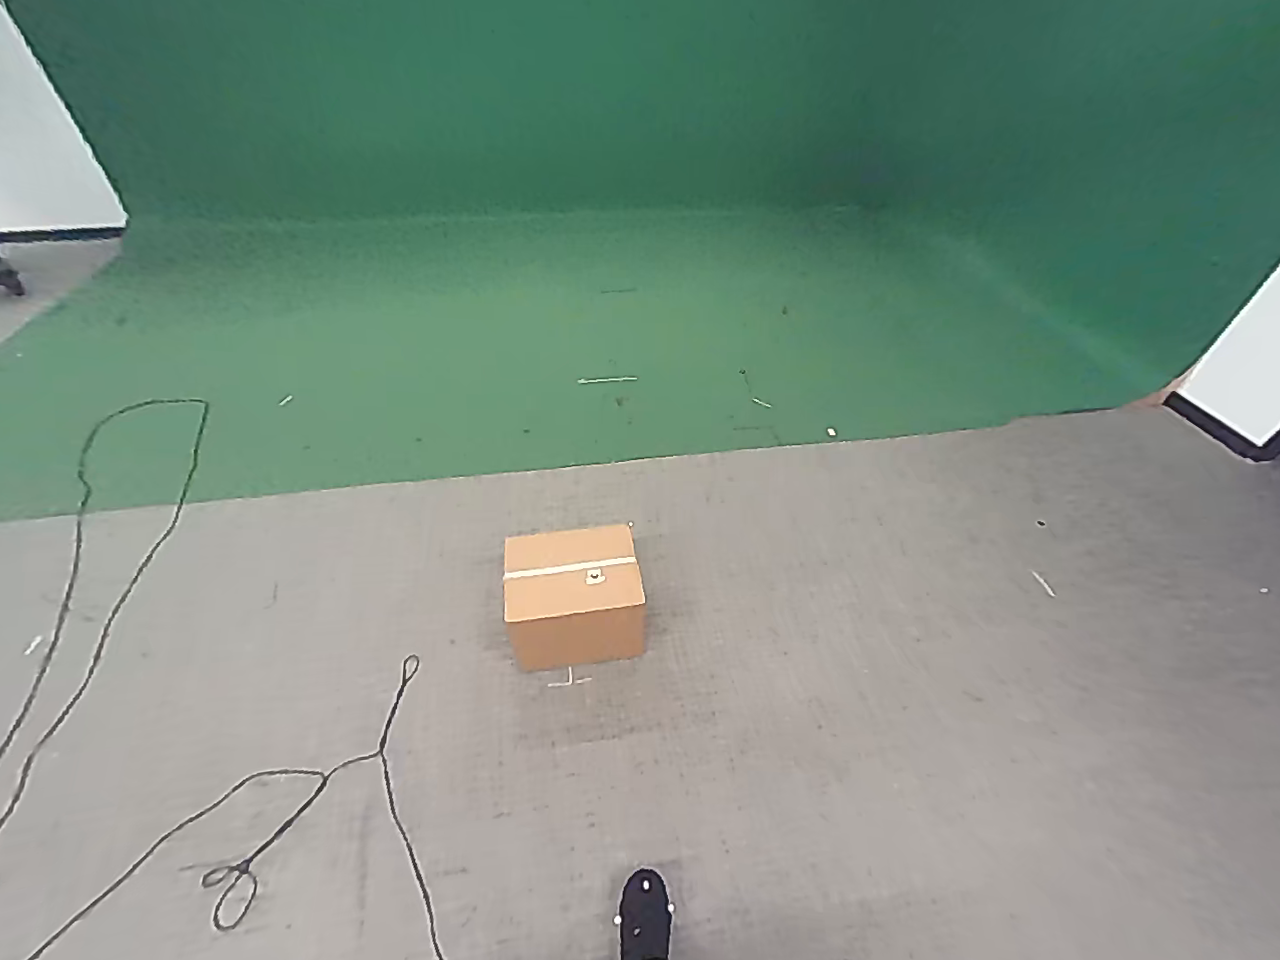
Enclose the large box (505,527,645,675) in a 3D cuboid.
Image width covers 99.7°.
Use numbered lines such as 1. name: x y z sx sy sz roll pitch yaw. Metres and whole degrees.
1. large box: -0.212 0.389 1.755 0.408 0.320 0.320 -6 44 -9
